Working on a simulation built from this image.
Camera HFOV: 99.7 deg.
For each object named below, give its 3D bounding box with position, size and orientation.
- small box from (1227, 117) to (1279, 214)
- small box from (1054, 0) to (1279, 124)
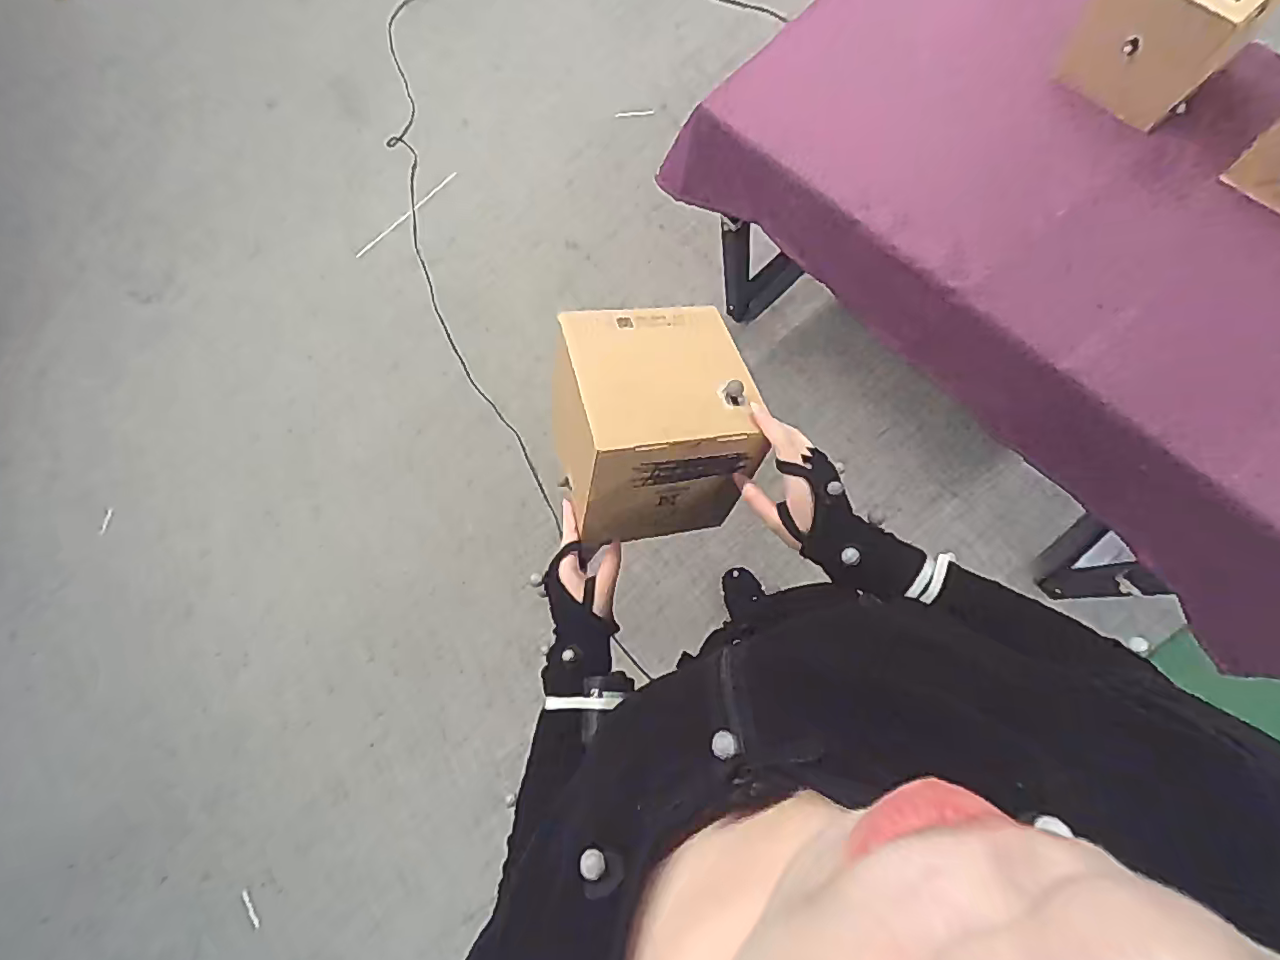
[{"bbox_3d":[0.949,-0.463,0.696,0.179,0.176,0.168,-42,72,0],"label":"small box"},{"bbox_3d":[0.766,-0.662,0.778,0.168,0.176,0.179,-40,72,0],"label":"small box"}]
